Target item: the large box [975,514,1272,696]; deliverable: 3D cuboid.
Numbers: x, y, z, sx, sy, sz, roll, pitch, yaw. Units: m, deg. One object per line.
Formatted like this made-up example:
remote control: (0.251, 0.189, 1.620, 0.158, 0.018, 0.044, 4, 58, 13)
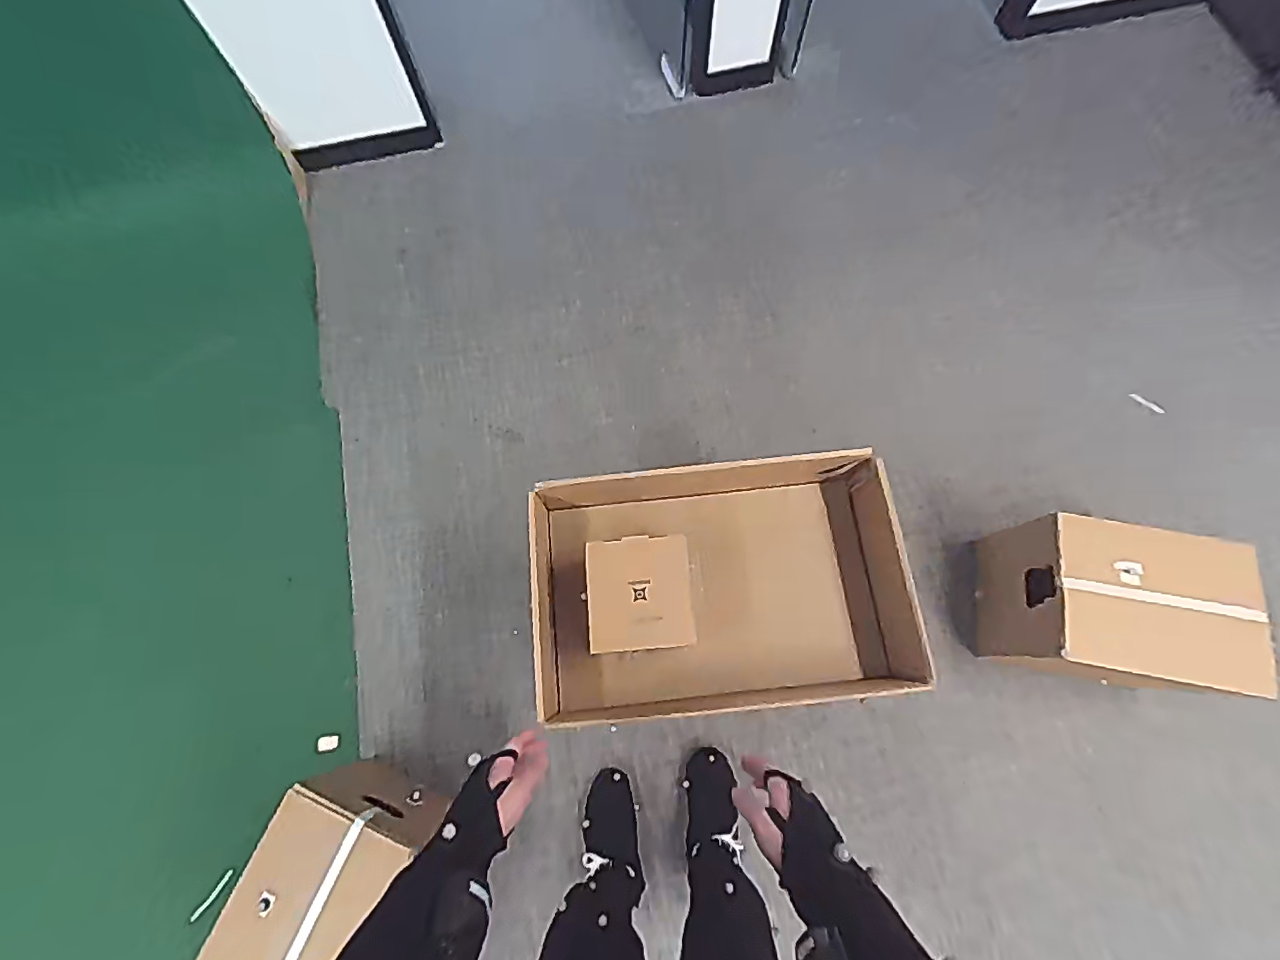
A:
large box: (1.061, 0.290, 1.245, 0.408, 0.320, 0.320, 10, 72, 5)
